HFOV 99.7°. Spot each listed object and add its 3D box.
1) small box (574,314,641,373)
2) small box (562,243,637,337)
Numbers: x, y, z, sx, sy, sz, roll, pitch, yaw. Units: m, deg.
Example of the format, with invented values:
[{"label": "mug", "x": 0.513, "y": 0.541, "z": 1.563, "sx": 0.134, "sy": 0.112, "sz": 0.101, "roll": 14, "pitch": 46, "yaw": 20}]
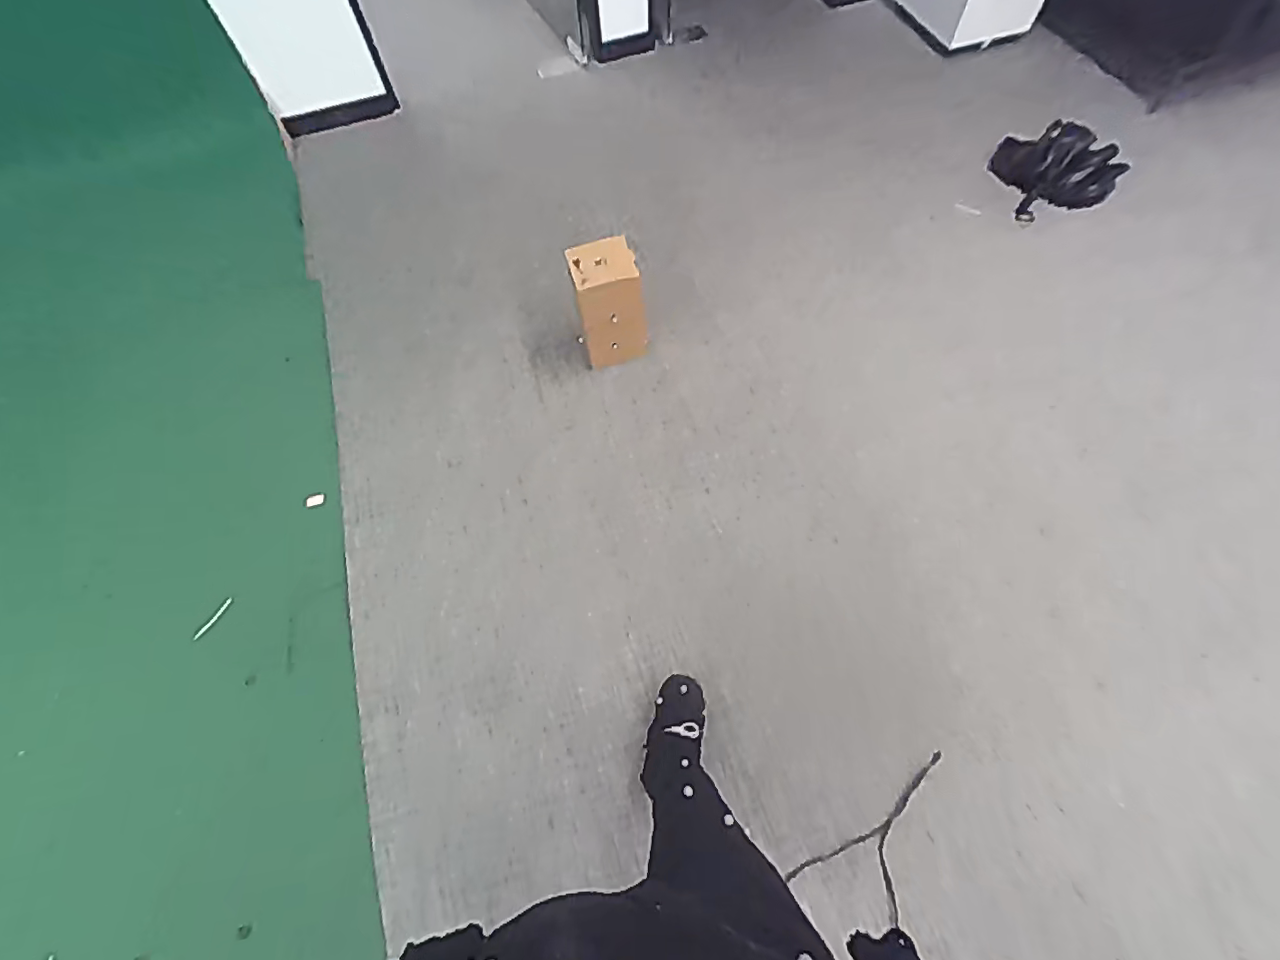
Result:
[{"label": "small box", "x": -0.104, "y": -0.462, "z": 1.688, "sx": 0.179, "sy": 0.176, "sz": 0.168, "roll": -19, "pitch": 64, "yaw": -8}, {"label": "small box", "x": -0.113, "y": -0.537, "z": 1.543, "sx": 0.179, "sy": 0.176, "sz": 0.168, "roll": -15, "pitch": 63, "yaw": -6}]
